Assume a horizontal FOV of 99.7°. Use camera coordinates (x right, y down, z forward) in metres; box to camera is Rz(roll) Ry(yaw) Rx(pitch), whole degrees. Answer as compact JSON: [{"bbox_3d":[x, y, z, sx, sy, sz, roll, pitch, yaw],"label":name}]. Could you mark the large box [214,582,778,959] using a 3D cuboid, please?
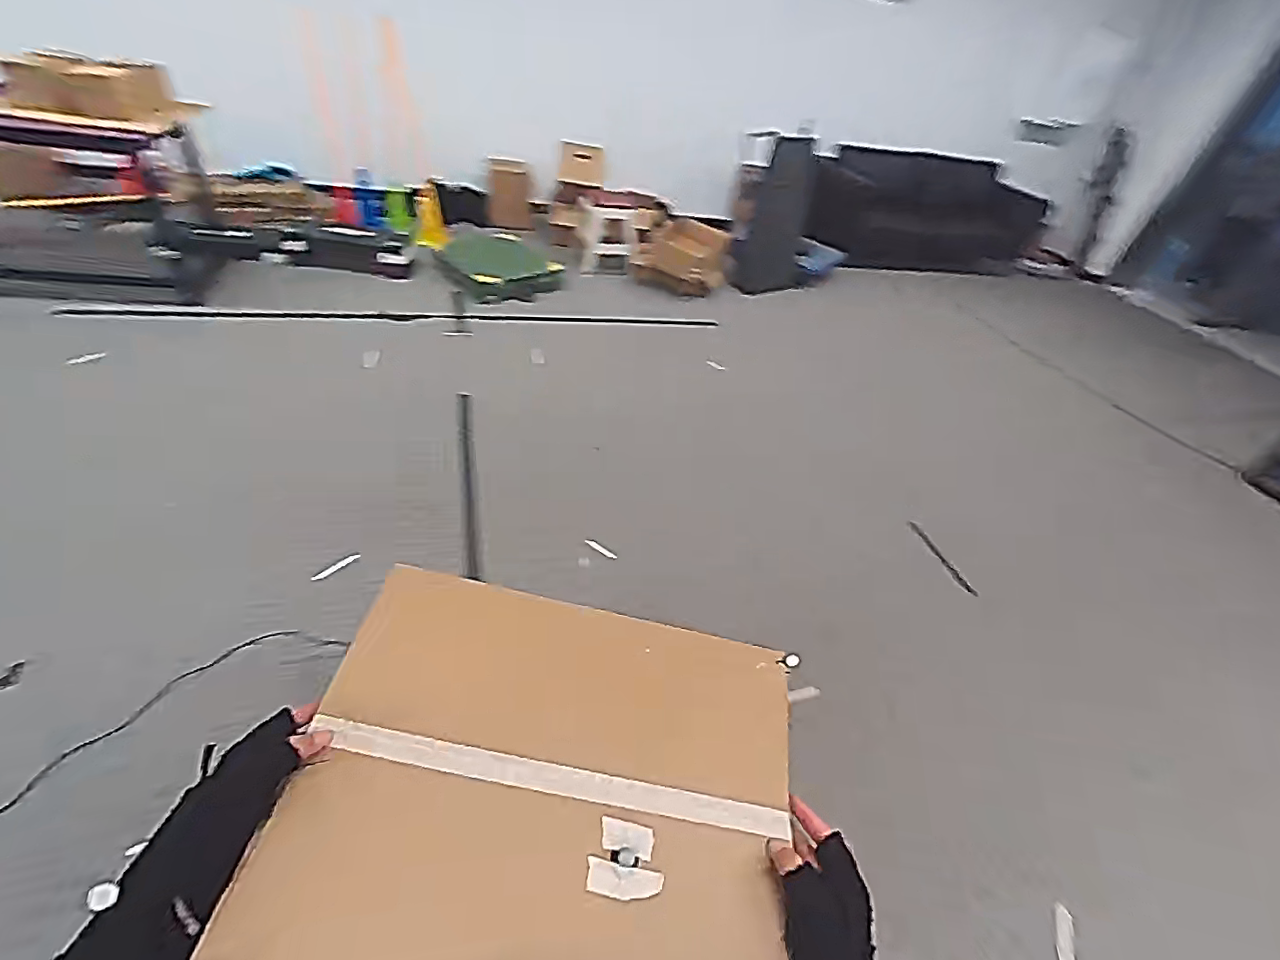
[{"bbox_3d":[-0.106,0.348,0.572,0.408,0.320,0.320,13,50,-4],"label":"large box"}]
